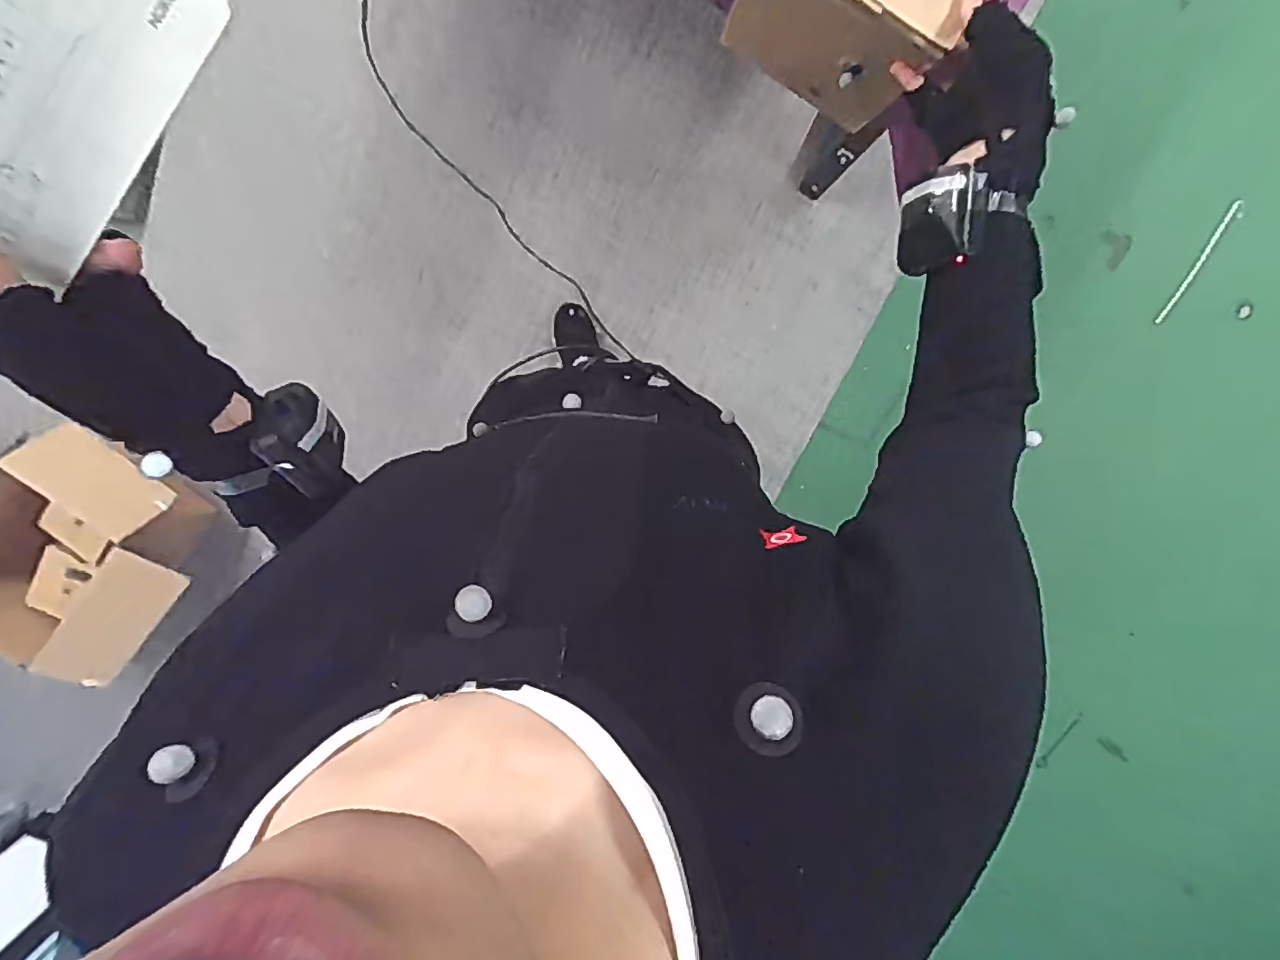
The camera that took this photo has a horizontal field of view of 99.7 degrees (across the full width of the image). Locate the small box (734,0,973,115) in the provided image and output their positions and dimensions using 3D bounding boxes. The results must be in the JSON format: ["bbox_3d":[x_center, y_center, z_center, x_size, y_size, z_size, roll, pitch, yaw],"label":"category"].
[{"bbox_3d":[0.194,-0.451,0.447,0.168,0.176,0.179,27,103,-11],"label":"small box"}]
